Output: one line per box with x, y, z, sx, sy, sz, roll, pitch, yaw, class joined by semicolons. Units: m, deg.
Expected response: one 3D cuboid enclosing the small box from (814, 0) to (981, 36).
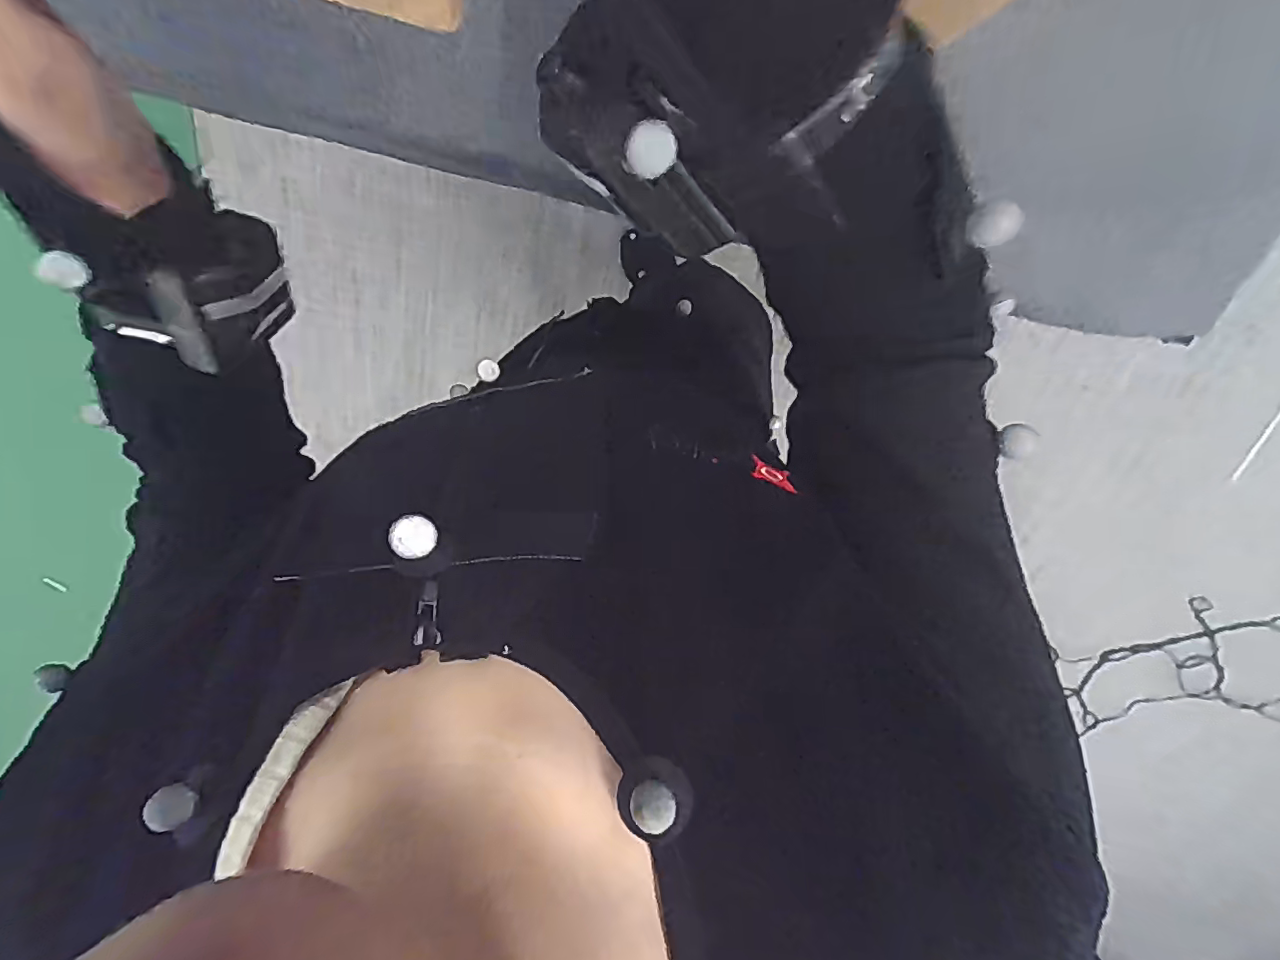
0.179;-0.416;0.330;0.168;0.176;0.179;14;115;-2;small box
